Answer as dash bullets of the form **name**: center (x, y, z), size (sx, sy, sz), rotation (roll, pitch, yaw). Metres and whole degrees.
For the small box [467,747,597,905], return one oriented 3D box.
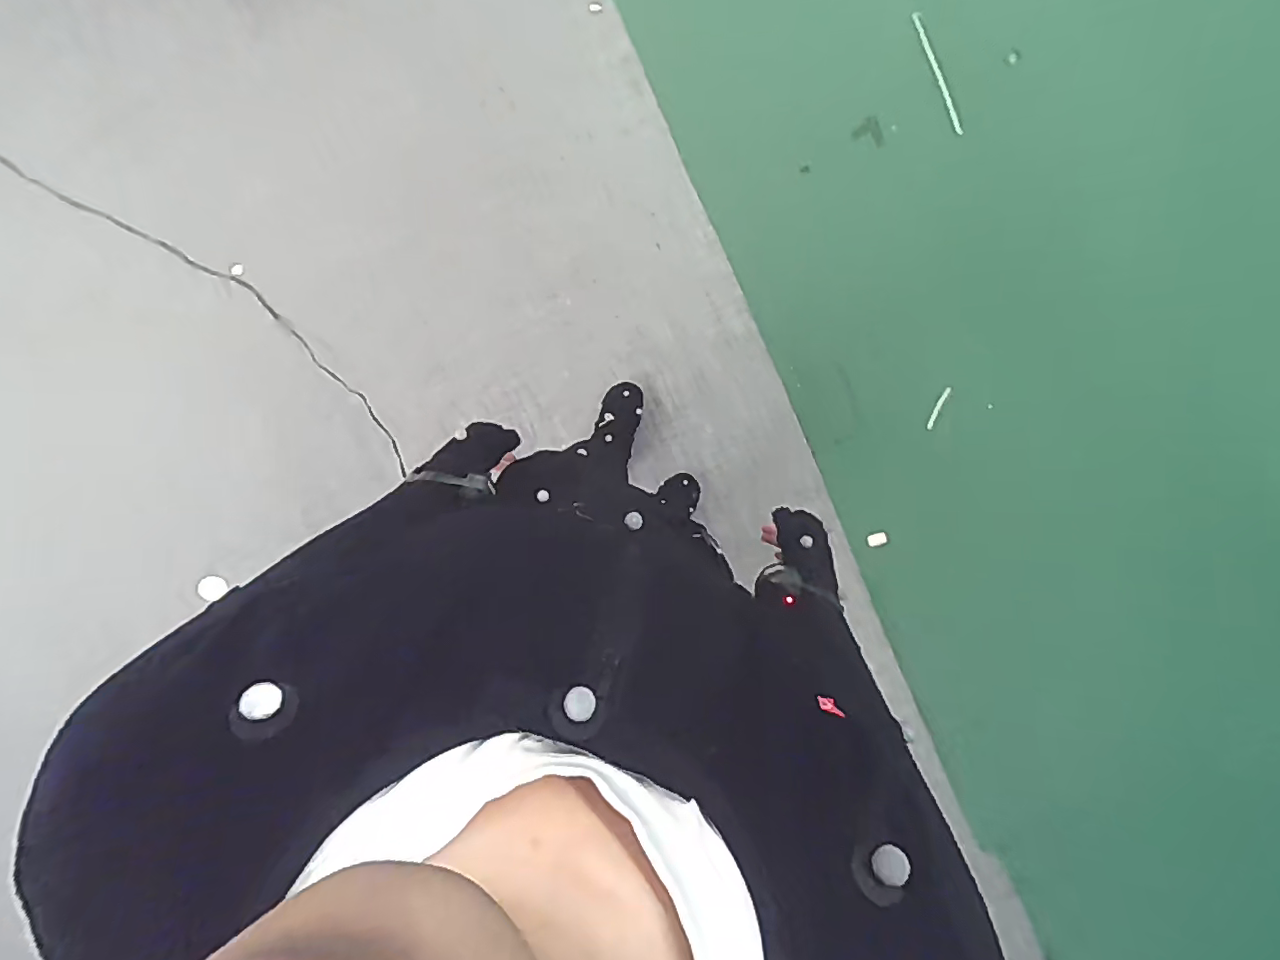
- **small box**: center (-0.195, 0.637, 1.023), size (0.168, 0.176, 0.179), rotation (-21, 94, 6)
